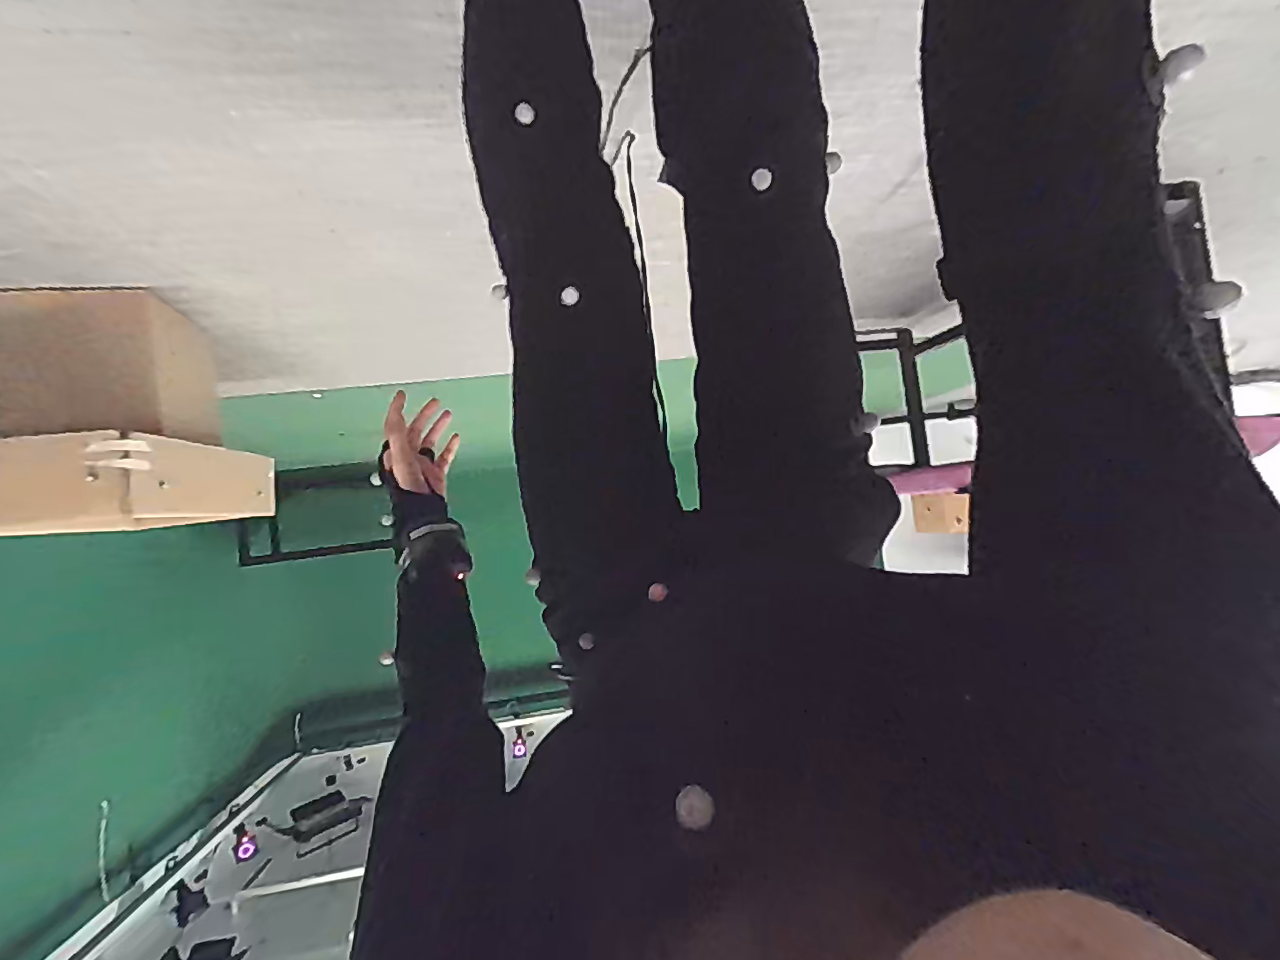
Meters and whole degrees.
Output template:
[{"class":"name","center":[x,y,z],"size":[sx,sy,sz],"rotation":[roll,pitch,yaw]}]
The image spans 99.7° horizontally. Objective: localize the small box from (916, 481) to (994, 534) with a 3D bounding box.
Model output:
[{"class":"small box","center":[1.135,0.100,1.958],"size":[0.179,0.176,0.168],"rotation":[-7,177,-13]}]
